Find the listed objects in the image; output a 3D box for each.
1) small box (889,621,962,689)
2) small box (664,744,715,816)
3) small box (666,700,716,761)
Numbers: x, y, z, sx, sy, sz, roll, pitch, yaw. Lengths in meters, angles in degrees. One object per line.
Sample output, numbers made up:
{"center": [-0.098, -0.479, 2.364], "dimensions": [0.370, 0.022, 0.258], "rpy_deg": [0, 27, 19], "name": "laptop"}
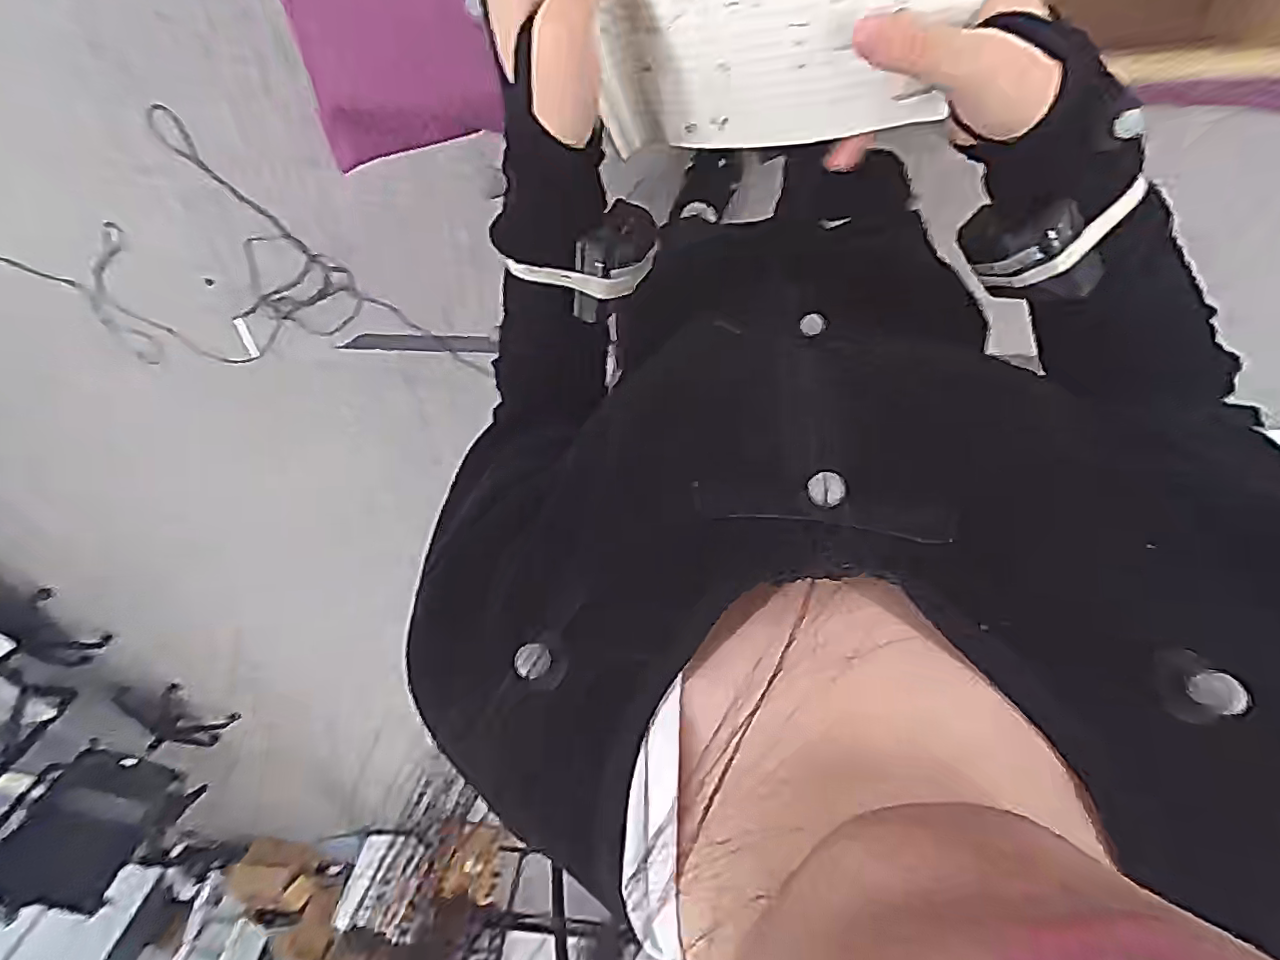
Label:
{"center": [1.106, 0.679, 2.104], "dimensions": [0.179, 0.176, 0.168], "rpy_deg": [37, 125, -20], "name": "small box"}
{"center": [0.177, 1.076, 1.946], "dimensions": [0.168, 0.176, 0.179], "rpy_deg": [5, 128, 4], "name": "small box"}
{"center": [0.194, 0.966, 2.066], "dimensions": [0.168, 0.176, 0.179], "rpy_deg": [7, 130, 2], "name": "small box"}
